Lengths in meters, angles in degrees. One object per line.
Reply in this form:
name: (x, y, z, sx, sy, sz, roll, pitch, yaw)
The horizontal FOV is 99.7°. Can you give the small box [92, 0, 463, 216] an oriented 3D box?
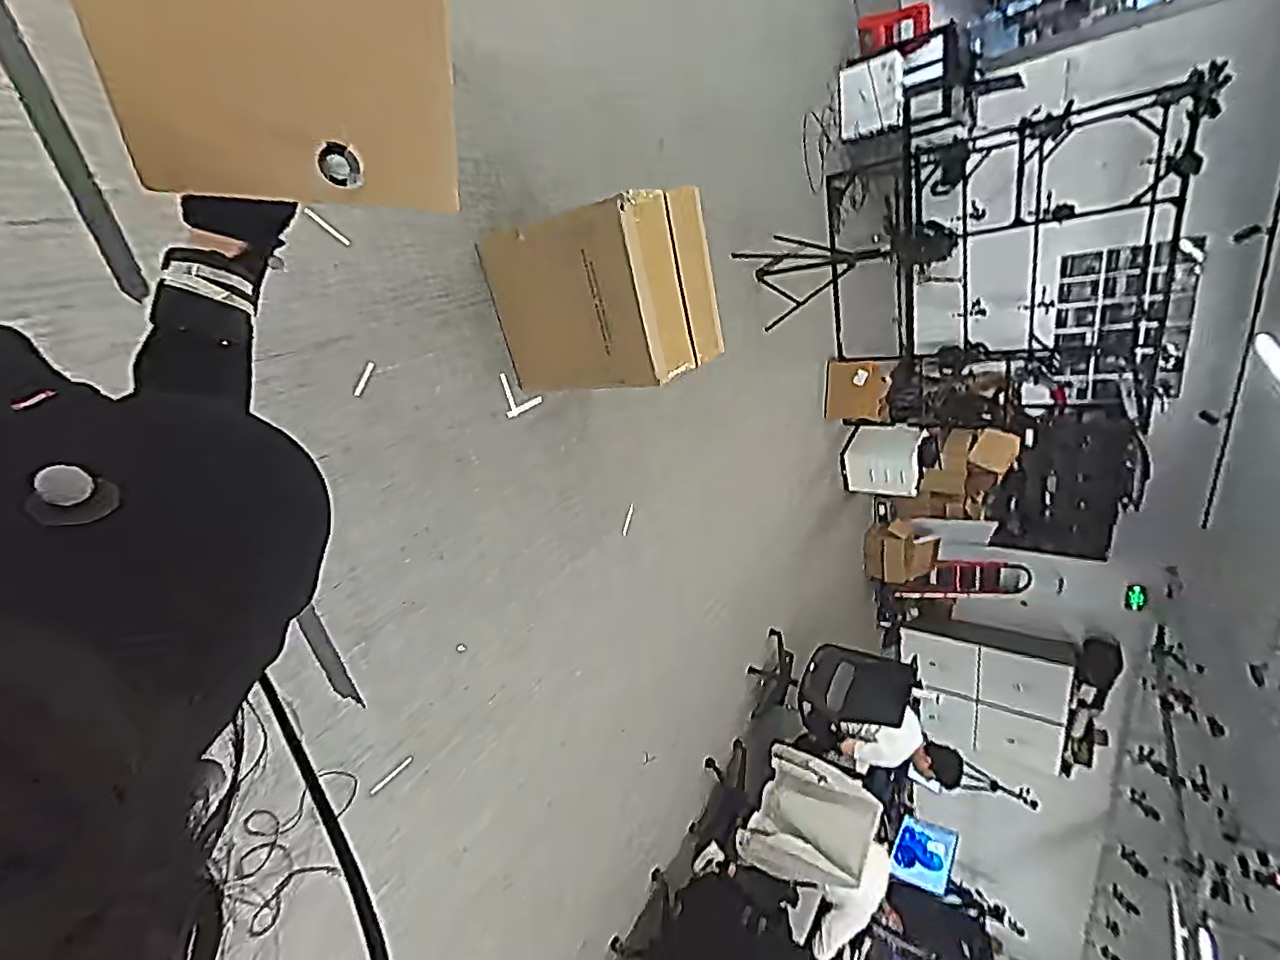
small box: (-0.203, -0.283, 0.334, 0.168, 0.179, 0.176, -4, 129, -19)
